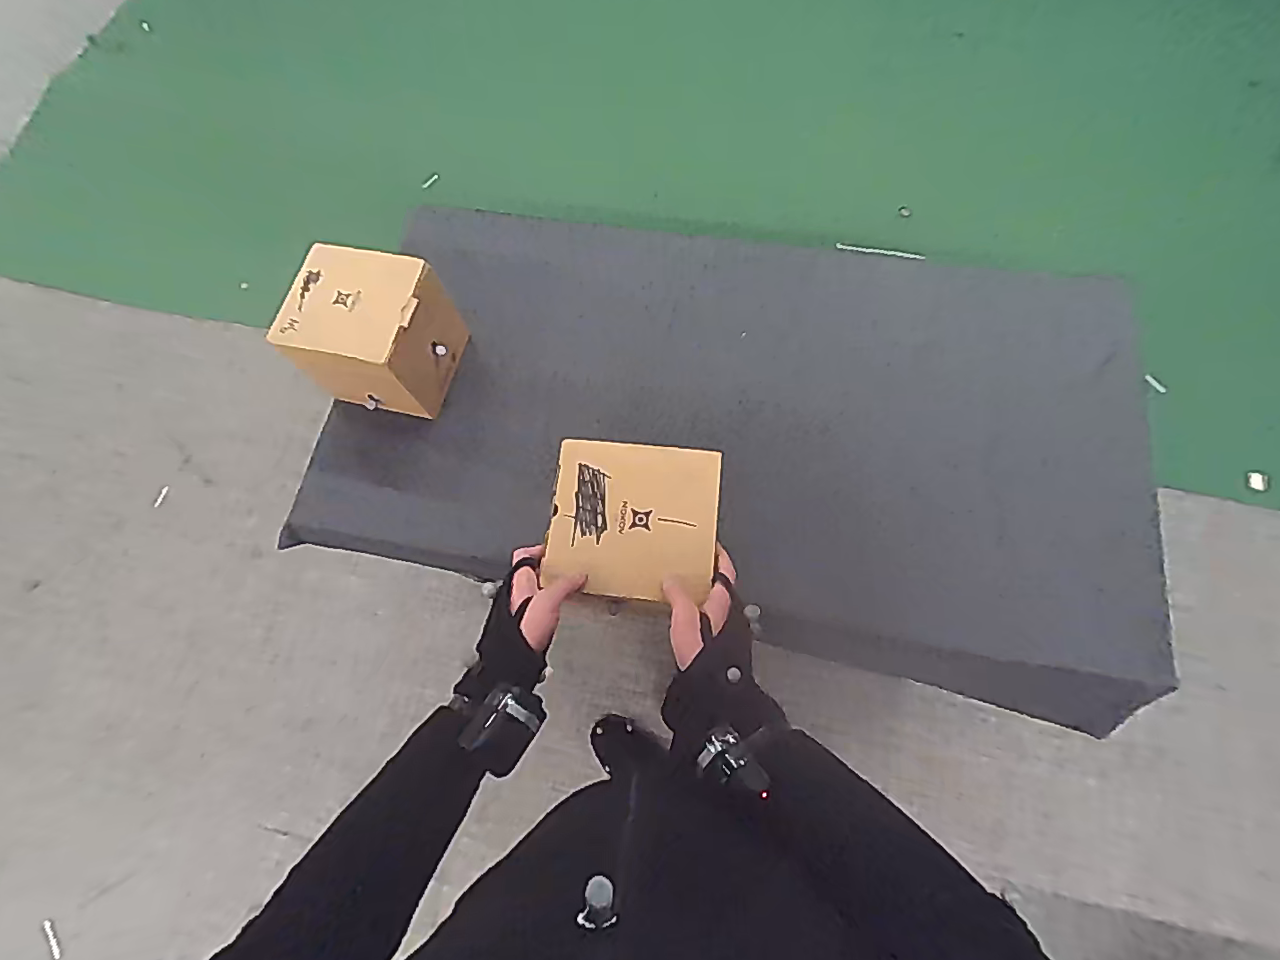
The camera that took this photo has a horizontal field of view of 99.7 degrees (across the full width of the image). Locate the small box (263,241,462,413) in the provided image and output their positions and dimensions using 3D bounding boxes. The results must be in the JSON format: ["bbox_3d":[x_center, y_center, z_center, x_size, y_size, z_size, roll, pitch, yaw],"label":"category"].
[{"bbox_3d":[-0.389,-0.214,0.796,0.179,0.176,0.168,12,73,6],"label":"small box"}]

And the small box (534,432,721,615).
[{"bbox_3d":[-0.007,0.059,0.628,0.179,0.176,0.168,6,71,4],"label":"small box"}]
